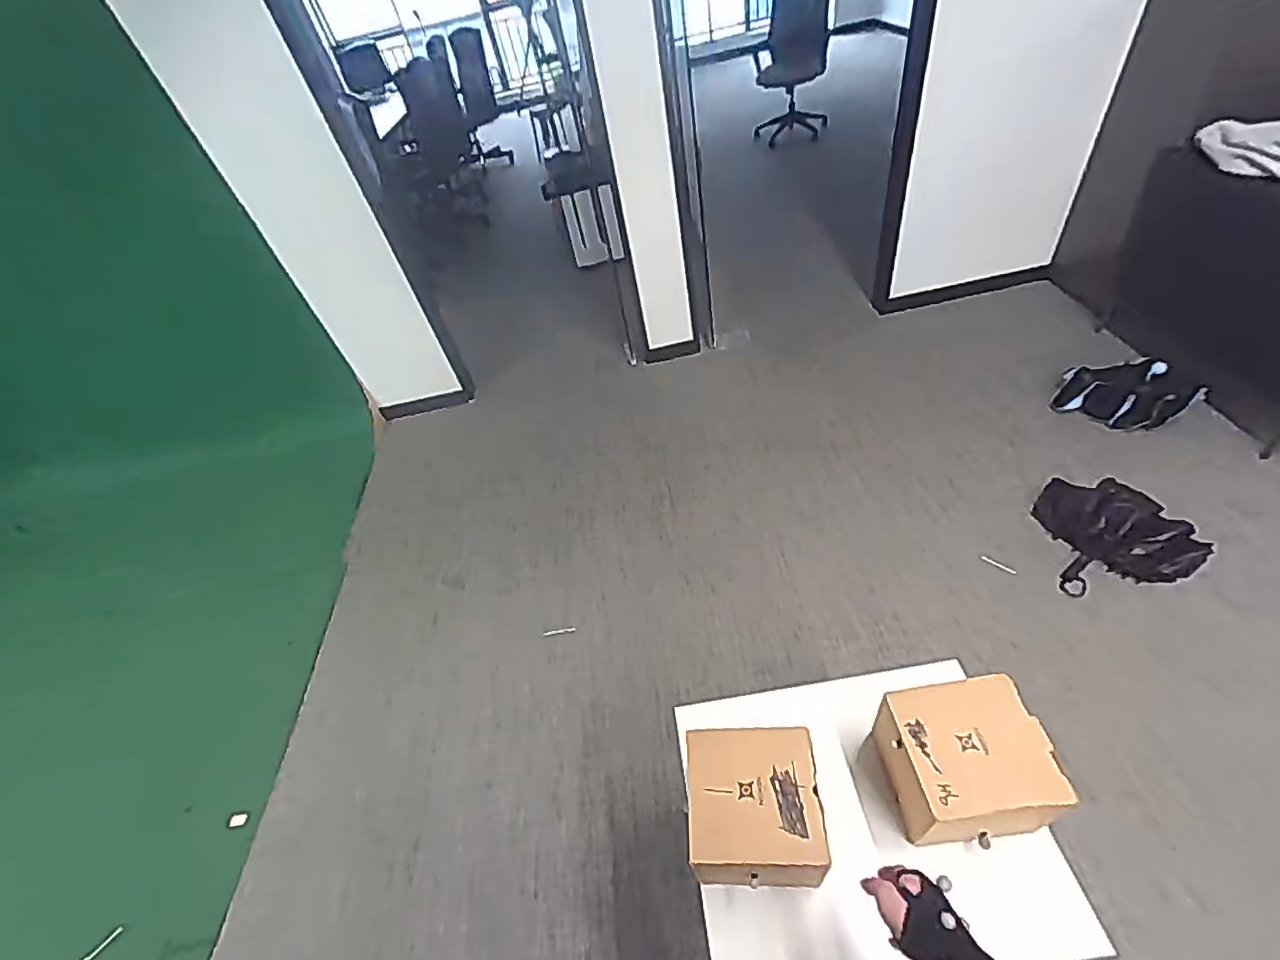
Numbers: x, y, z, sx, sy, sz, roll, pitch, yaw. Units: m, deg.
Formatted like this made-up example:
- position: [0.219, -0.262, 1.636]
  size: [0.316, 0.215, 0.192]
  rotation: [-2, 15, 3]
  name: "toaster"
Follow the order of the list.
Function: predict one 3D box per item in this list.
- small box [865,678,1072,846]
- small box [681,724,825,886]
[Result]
- position: [0.445, 0.403, 0.770]
  size: [0.179, 0.176, 0.168]
  rotation: [-8, 46, 3]
  name: "small box"
- position: [0.150, 0.461, 0.768]
  size: [0.179, 0.176, 0.168]
  rotation: [-3, 45, 7]
  name: "small box"
